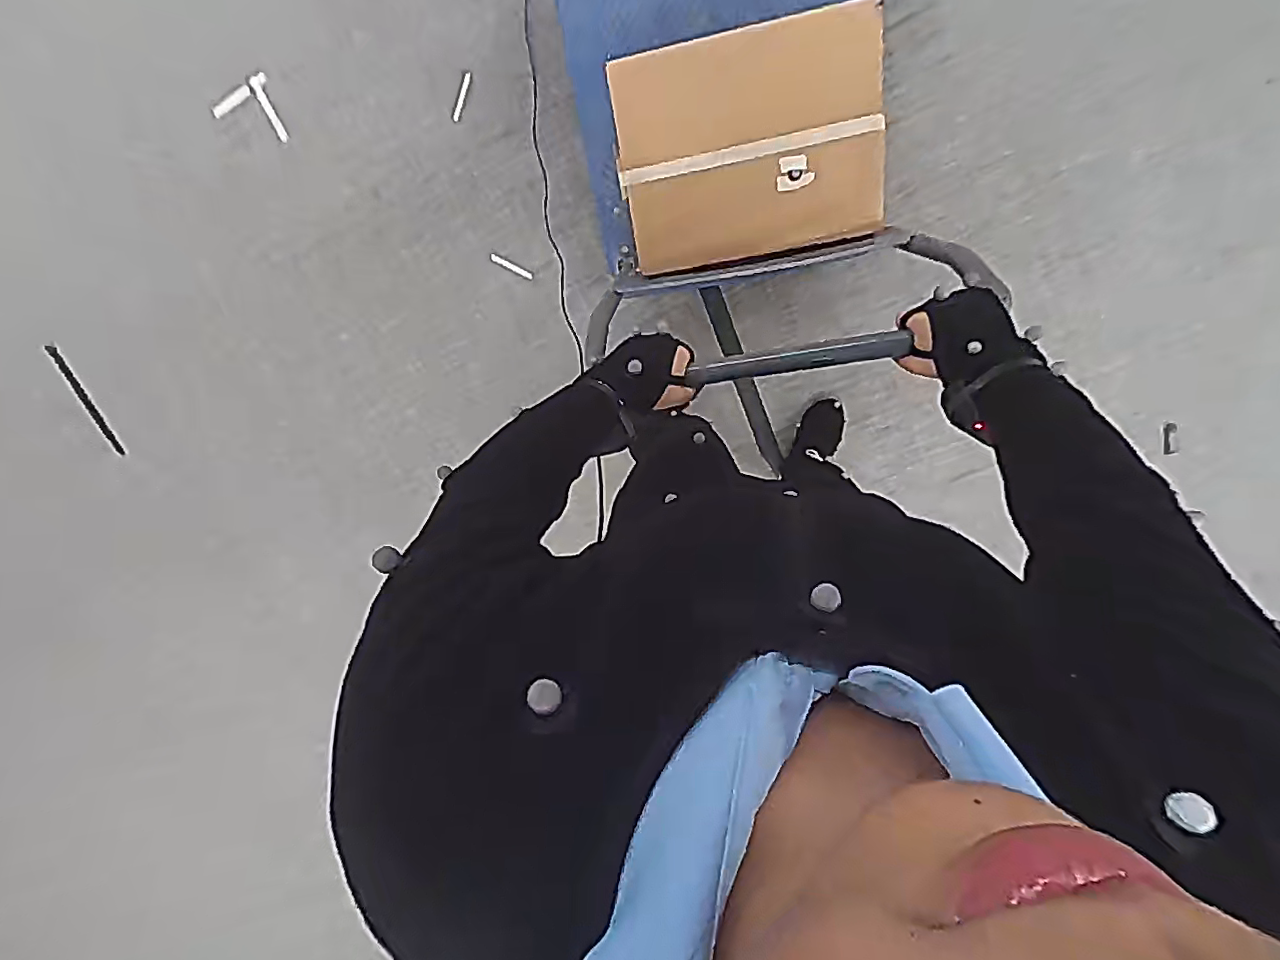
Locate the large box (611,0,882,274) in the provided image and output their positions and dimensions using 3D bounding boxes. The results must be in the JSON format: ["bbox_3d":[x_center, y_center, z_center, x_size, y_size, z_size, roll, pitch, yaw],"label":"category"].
[{"bbox_3d":[0.186,-0.592,0.999,0.408,0.320,0.320,-9,115,8],"label":"large box"}]
